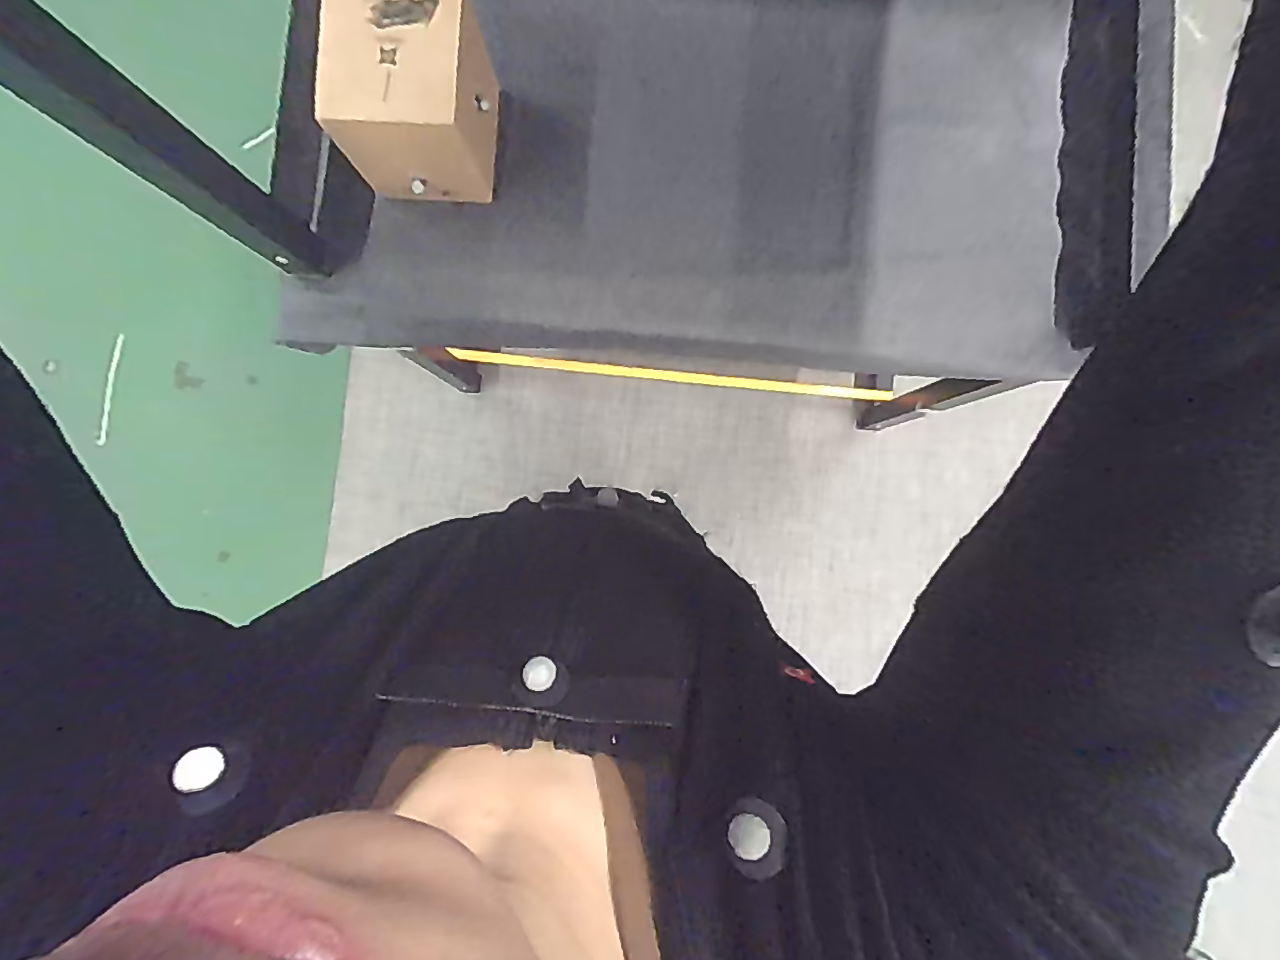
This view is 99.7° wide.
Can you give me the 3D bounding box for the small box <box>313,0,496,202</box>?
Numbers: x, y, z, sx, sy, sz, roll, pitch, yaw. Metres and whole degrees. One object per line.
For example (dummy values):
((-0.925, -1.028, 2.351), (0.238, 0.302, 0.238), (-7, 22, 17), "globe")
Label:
((-0.292, -0.498, 0.708), (0.168, 0.176, 0.179), (3, 88, 0), "small box")
